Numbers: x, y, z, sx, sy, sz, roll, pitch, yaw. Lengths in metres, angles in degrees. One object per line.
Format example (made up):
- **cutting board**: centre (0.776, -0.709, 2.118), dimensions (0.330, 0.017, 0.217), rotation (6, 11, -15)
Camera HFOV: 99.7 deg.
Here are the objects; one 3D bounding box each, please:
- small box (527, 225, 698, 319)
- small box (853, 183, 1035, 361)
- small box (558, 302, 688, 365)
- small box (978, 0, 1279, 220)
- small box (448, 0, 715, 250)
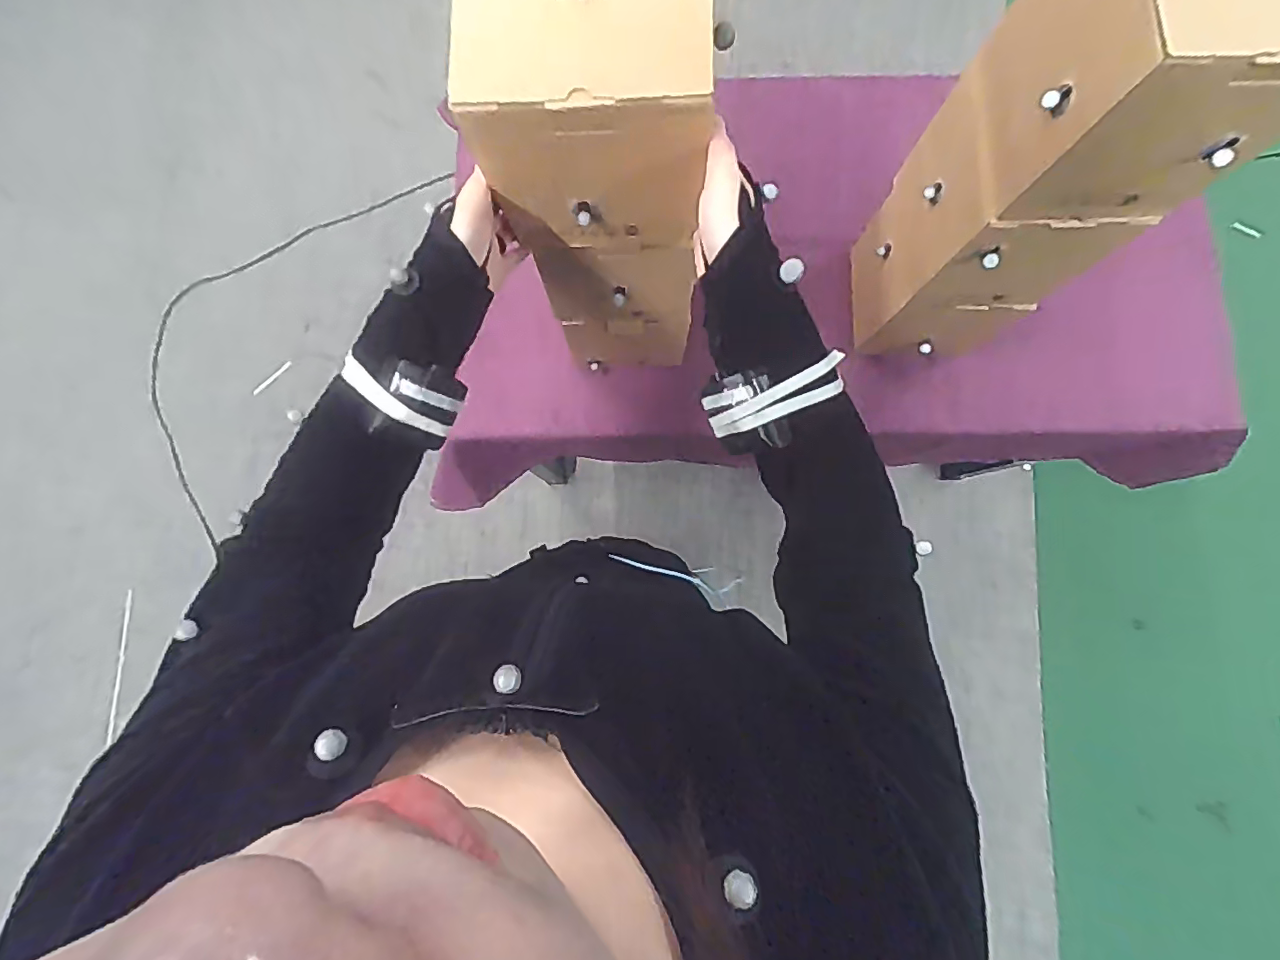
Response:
- **small box**: centre (-0.024, -0.291, 0.598), dimensions (0.168, 0.176, 0.179), rotation (1, 84, -1)
- **small box**: centre (0.412, -0.284, 0.763), dimensions (0.168, 0.176, 0.179), rotation (2, 83, 1)
- **small box**: centre (-0.021, -0.268, 0.761), dimensions (0.168, 0.176, 0.179), rotation (-1, 82, -1)
- **small box**: centre (0.410, -0.335, 0.439), dimensions (0.168, 0.176, 0.179), rotation (-1, 82, -1)
- **small box**: centre (-0.033, -0.303, 0.417), dimensions (0.168, 0.176, 0.179), rotation (0, 86, 3)
